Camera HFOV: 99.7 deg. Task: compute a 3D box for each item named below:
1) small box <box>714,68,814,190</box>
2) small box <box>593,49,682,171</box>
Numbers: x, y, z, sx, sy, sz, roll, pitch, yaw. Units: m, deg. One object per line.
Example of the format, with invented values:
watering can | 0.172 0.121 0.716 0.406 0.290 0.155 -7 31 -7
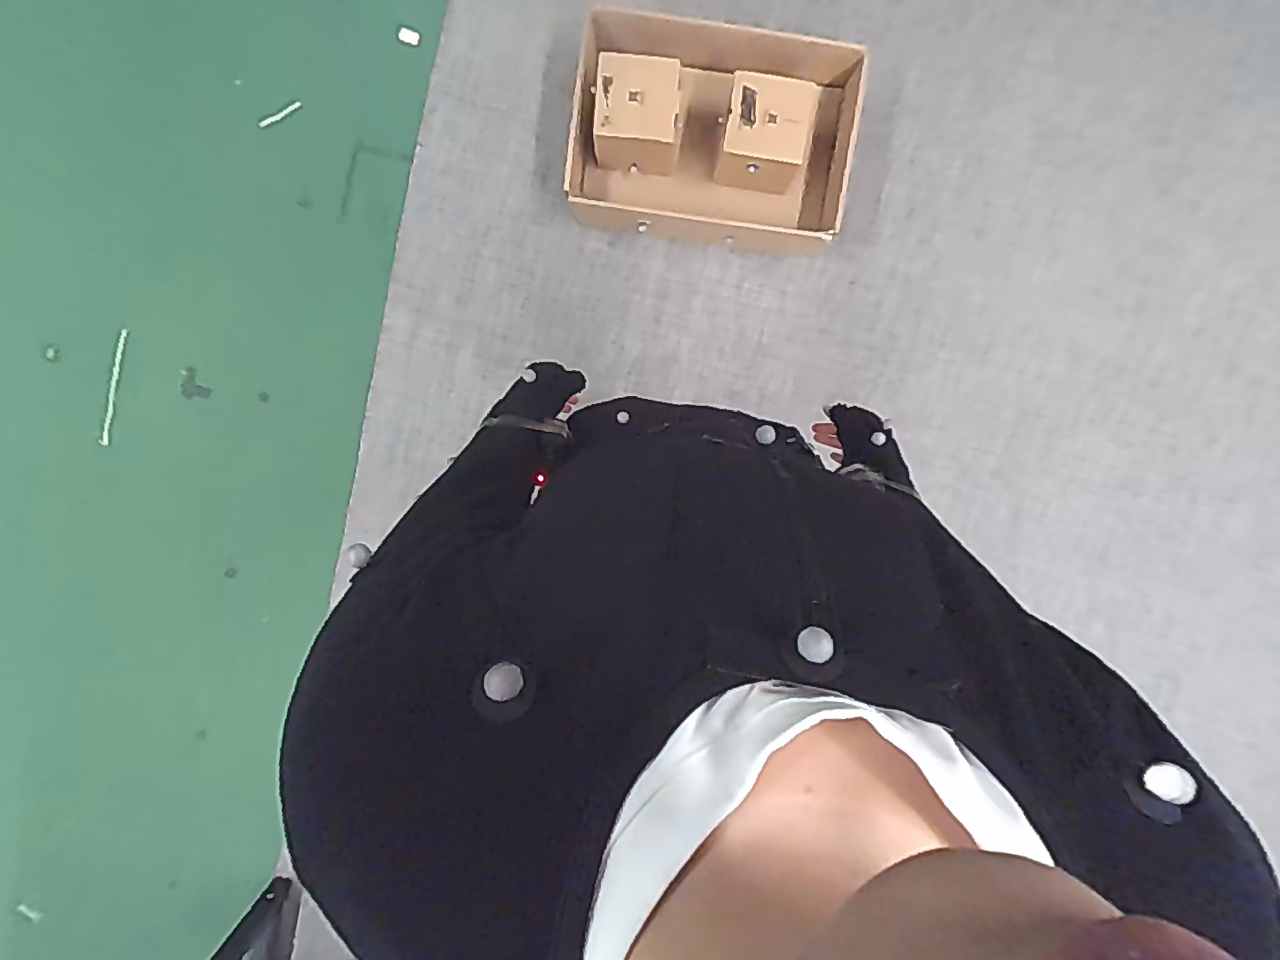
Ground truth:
small box | 0.271 -0.784 1.225 0.179 0.176 0.168 9 98 -1
small box | -0.009 -0.822 1.220 0.179 0.176 0.168 5 97 -2
